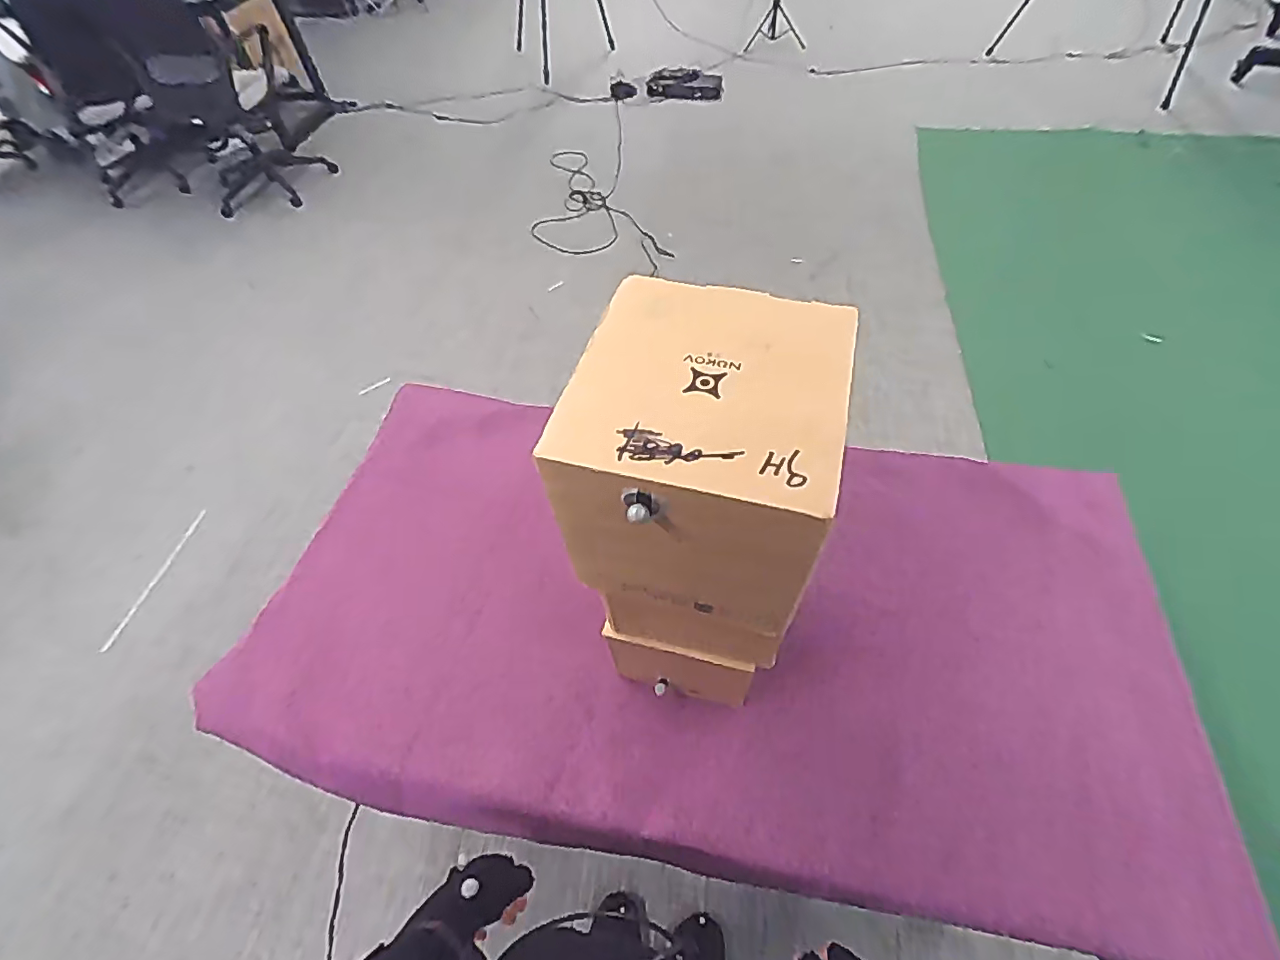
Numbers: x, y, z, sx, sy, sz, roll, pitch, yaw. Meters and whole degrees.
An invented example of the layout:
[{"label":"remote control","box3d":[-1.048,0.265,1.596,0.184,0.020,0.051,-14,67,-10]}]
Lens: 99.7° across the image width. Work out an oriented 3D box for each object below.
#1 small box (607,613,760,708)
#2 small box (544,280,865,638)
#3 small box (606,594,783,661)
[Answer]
[{"label":"small box","box3d":[0.069,0.157,0.669,0.168,0.176,0.179,11,57,13]},{"label":"small box","box3d":[0.051,-0.014,0.392,0.168,0.176,0.179,12,55,13]},{"label":"small box","box3d":[0.066,0.063,0.538,0.179,0.176,0.168,10,56,11]}]
